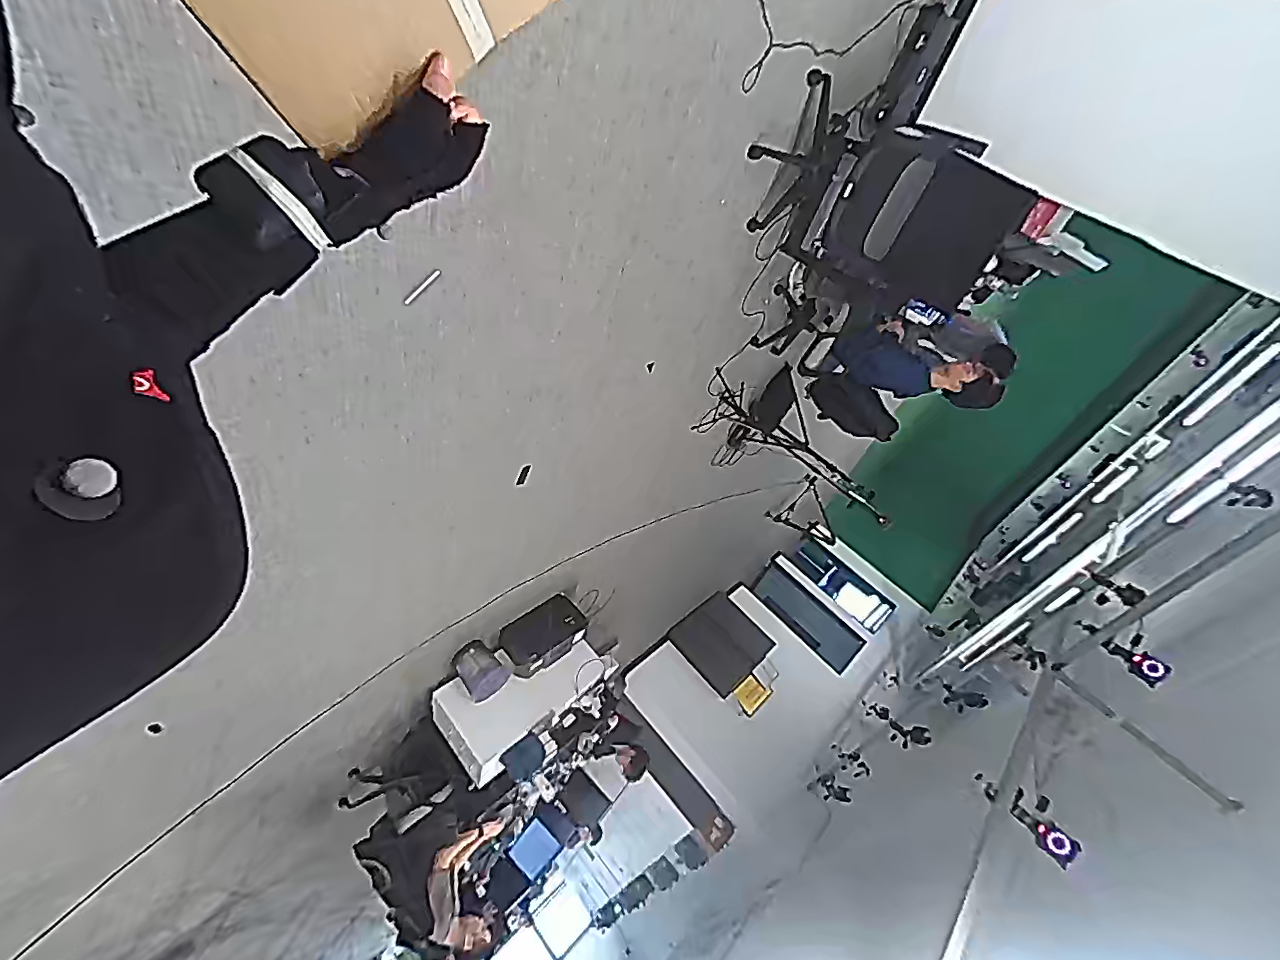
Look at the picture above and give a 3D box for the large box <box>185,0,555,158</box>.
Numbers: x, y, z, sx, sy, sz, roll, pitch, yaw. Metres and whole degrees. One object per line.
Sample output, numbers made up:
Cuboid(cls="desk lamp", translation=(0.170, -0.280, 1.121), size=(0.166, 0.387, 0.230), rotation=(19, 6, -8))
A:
Cuboid(cls="large box", translation=(-0.265, -0.522, 0.322), size=(0.320, 0.320, 0.408), rotation=(-39, 158, -4))
